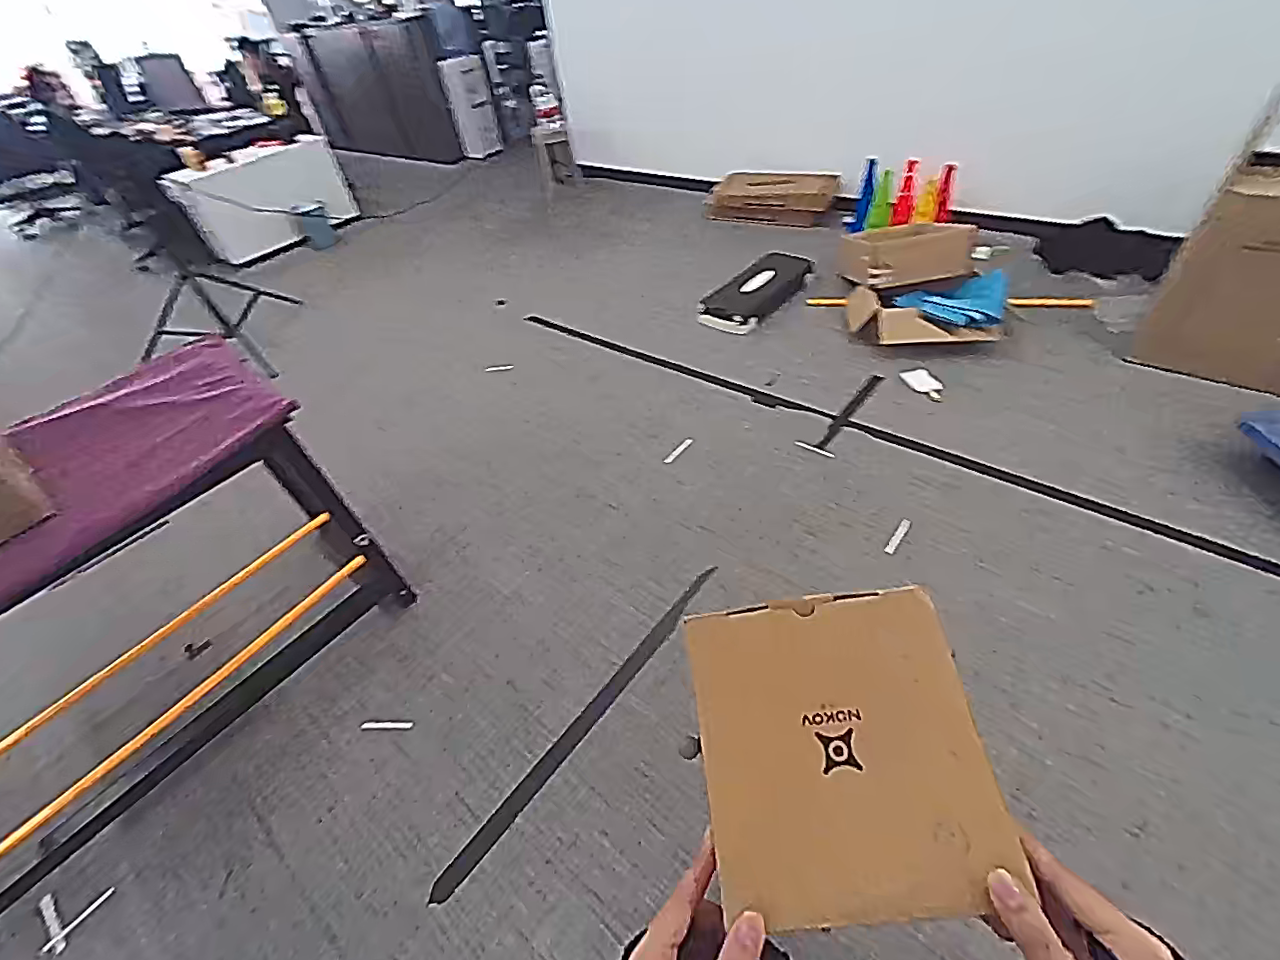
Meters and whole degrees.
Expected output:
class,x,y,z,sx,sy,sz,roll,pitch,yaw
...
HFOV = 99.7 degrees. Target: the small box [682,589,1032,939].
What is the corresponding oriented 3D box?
class,x,y,z,sx,sy,sz,roll,pitch,yaw
small box,0.130,0.198,0.397,0.168,0.176,0.179,-10,60,4
